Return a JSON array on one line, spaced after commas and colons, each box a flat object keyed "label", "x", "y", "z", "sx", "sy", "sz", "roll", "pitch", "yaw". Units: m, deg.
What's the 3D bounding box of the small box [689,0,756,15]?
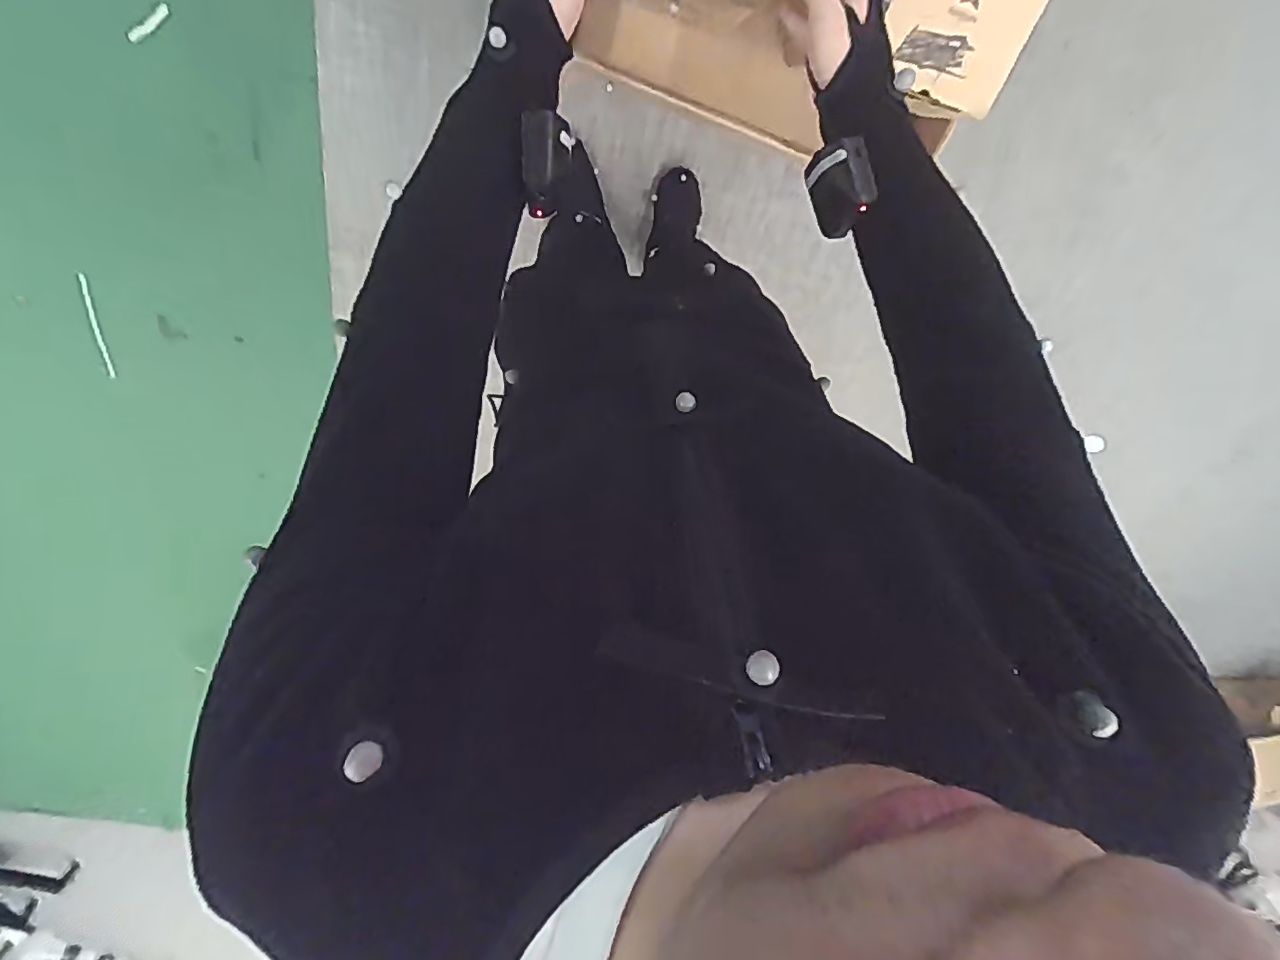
[{"label": "small box", "x": 0.072, "y": -0.640, "z": 0.574, "sx": 0.168, "sy": 0.176, "sz": 0.179, "roll": 14, "pitch": 124, "yaw": -10}]

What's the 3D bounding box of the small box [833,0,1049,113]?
[{"label": "small box", "x": 0.350, "y": -0.561, "z": 0.634, "sx": 0.168, "sy": 0.176, "sz": 0.179, "roll": 13, "pitch": 124, "yaw": -10}]
